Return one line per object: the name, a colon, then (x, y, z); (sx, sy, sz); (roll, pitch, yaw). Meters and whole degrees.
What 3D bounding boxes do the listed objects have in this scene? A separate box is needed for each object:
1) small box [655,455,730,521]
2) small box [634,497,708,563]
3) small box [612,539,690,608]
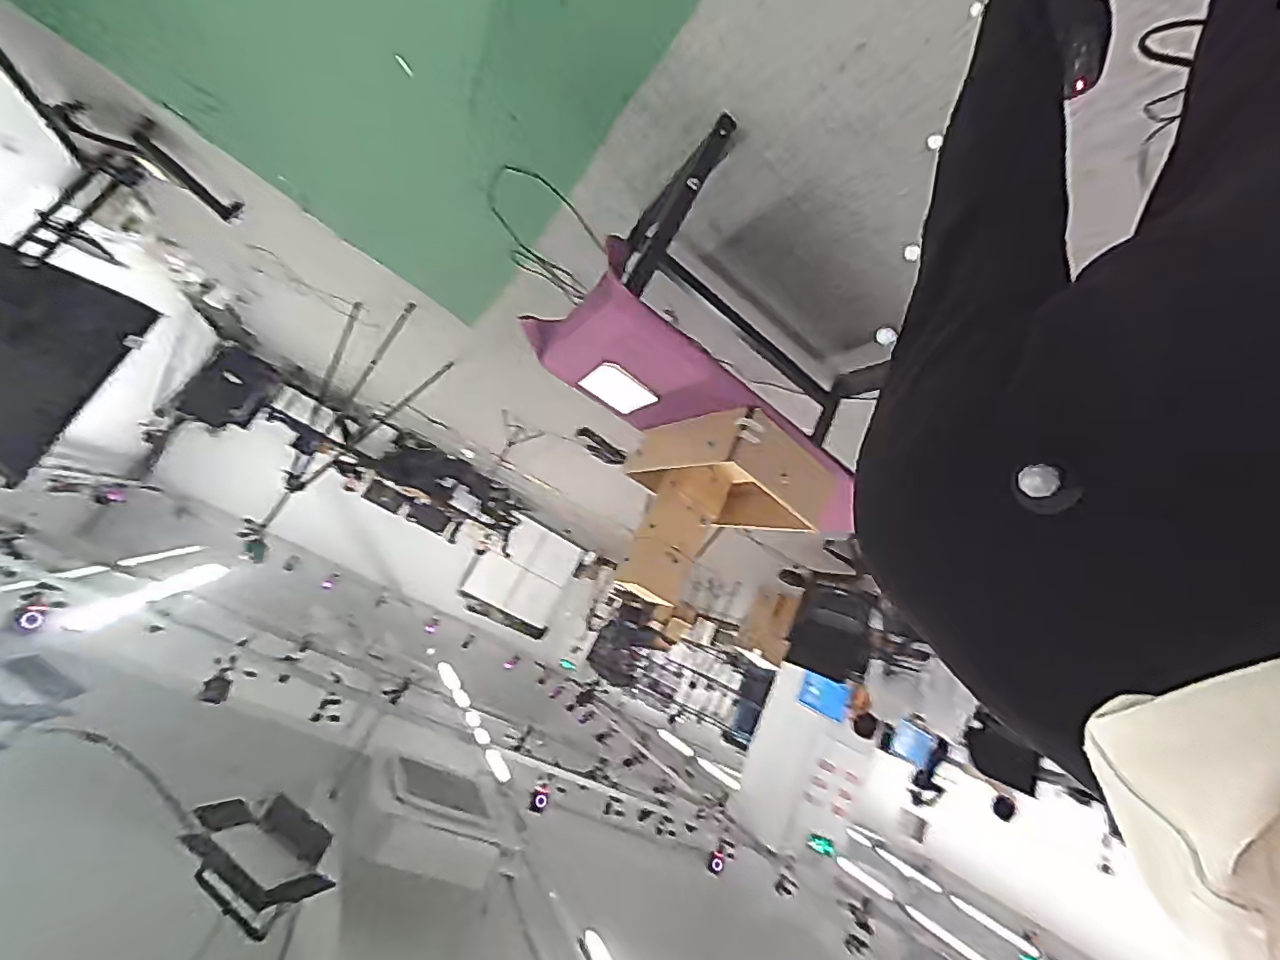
small box: (0.189, 0.030, 1.902); (0.168, 0.176, 0.179); (35, 160, -21)
small box: (0.113, 0.169, 1.858); (0.168, 0.176, 0.179); (35, 161, -20)
small box: (0.040, 0.306, 1.806); (0.168, 0.176, 0.179); (34, 160, -21)
